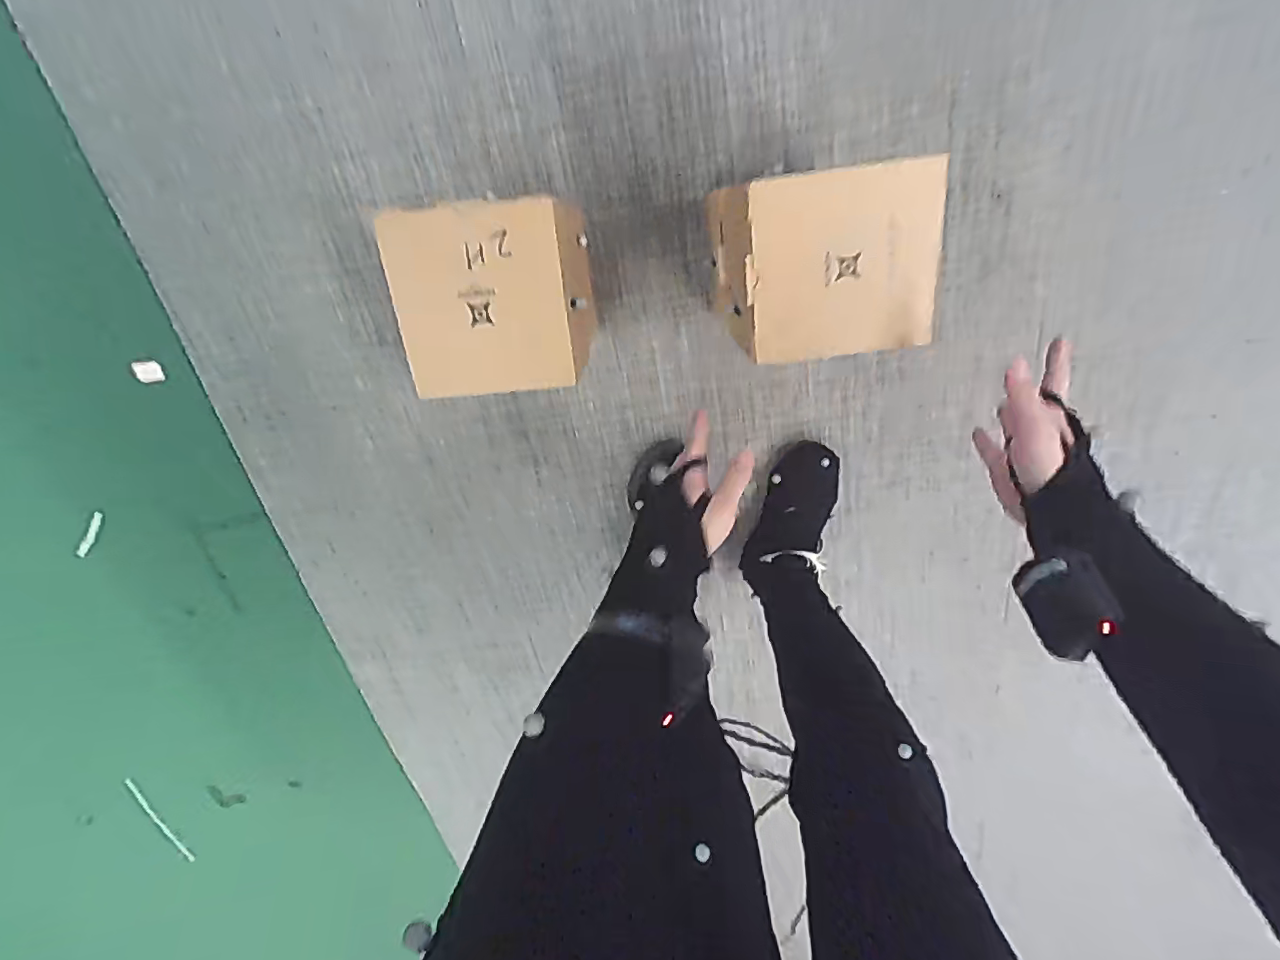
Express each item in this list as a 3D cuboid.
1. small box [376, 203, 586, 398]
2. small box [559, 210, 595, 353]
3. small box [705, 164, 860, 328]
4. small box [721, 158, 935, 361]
[{"bbox_3d":[-0.155,-0.202,0.601,0.168,0.176,0.179,-5,114,1],"label":"small box"},{"bbox_3d":[-0.159,-0.269,0.752,0.168,0.176,0.179,-6,113,3],"label":"small box"},{"bbox_3d":[0.183,-0.310,0.730,0.179,0.176,0.168,-8,115,5],"label":"small box"},{"bbox_3d":[0.184,-0.234,0.585,0.179,0.176,0.168,-6,114,3],"label":"small box"}]
